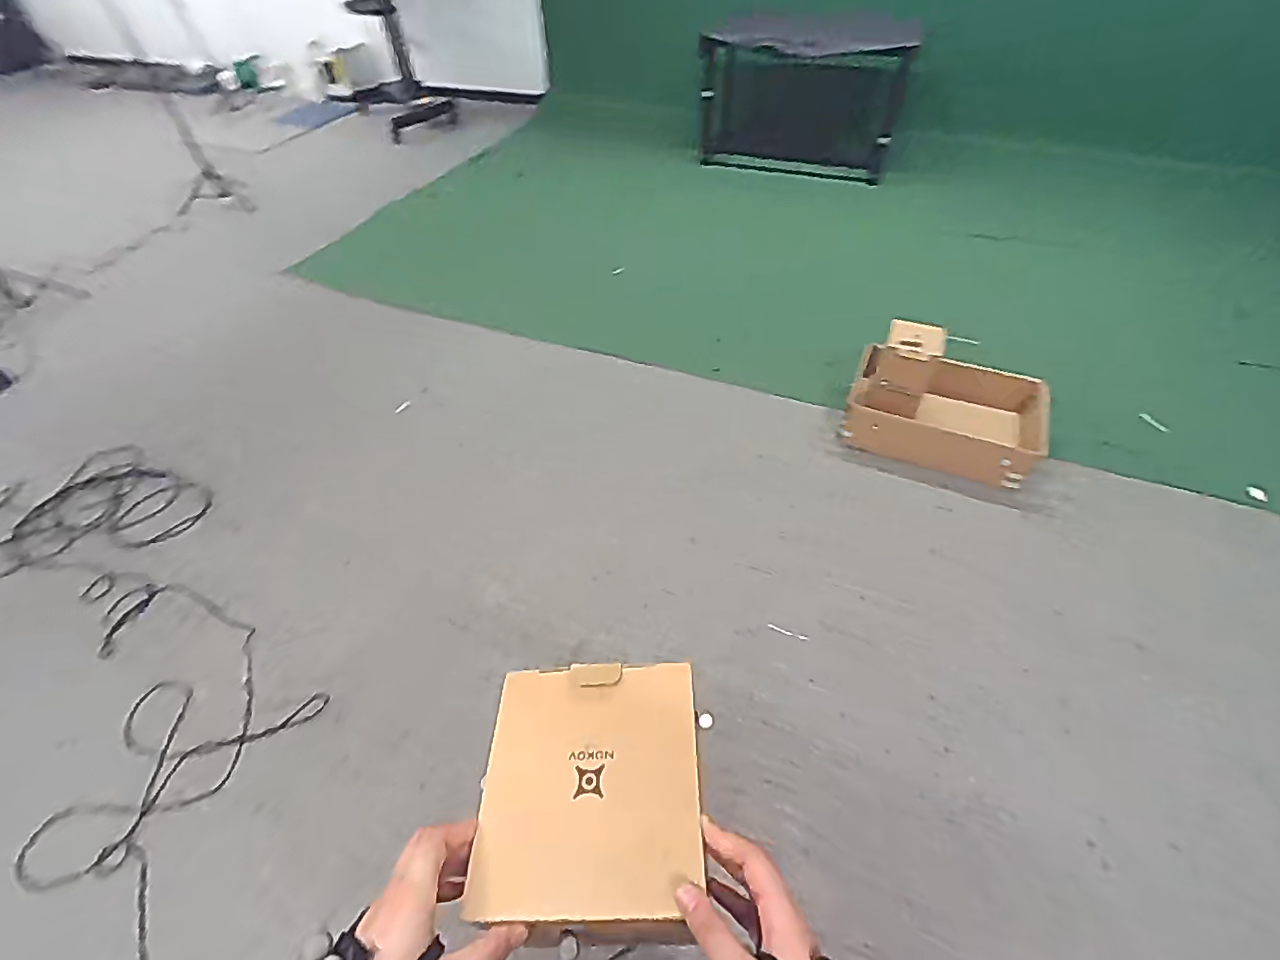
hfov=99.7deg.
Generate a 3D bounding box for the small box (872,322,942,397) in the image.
[{"bbox_3d":[0.916,-0.414,1.863,0.168,0.176,0.179,18,52,15],"label":"small box"}]

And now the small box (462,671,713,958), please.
[{"bbox_3d":[-0.026,0.285,0.461,0.168,0.176,0.179,-4,44,5],"label":"small box"}]

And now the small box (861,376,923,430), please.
[{"bbox_3d":[0.930,-0.315,1.994,0.168,0.176,0.179,16,53,15],"label":"small box"}]
